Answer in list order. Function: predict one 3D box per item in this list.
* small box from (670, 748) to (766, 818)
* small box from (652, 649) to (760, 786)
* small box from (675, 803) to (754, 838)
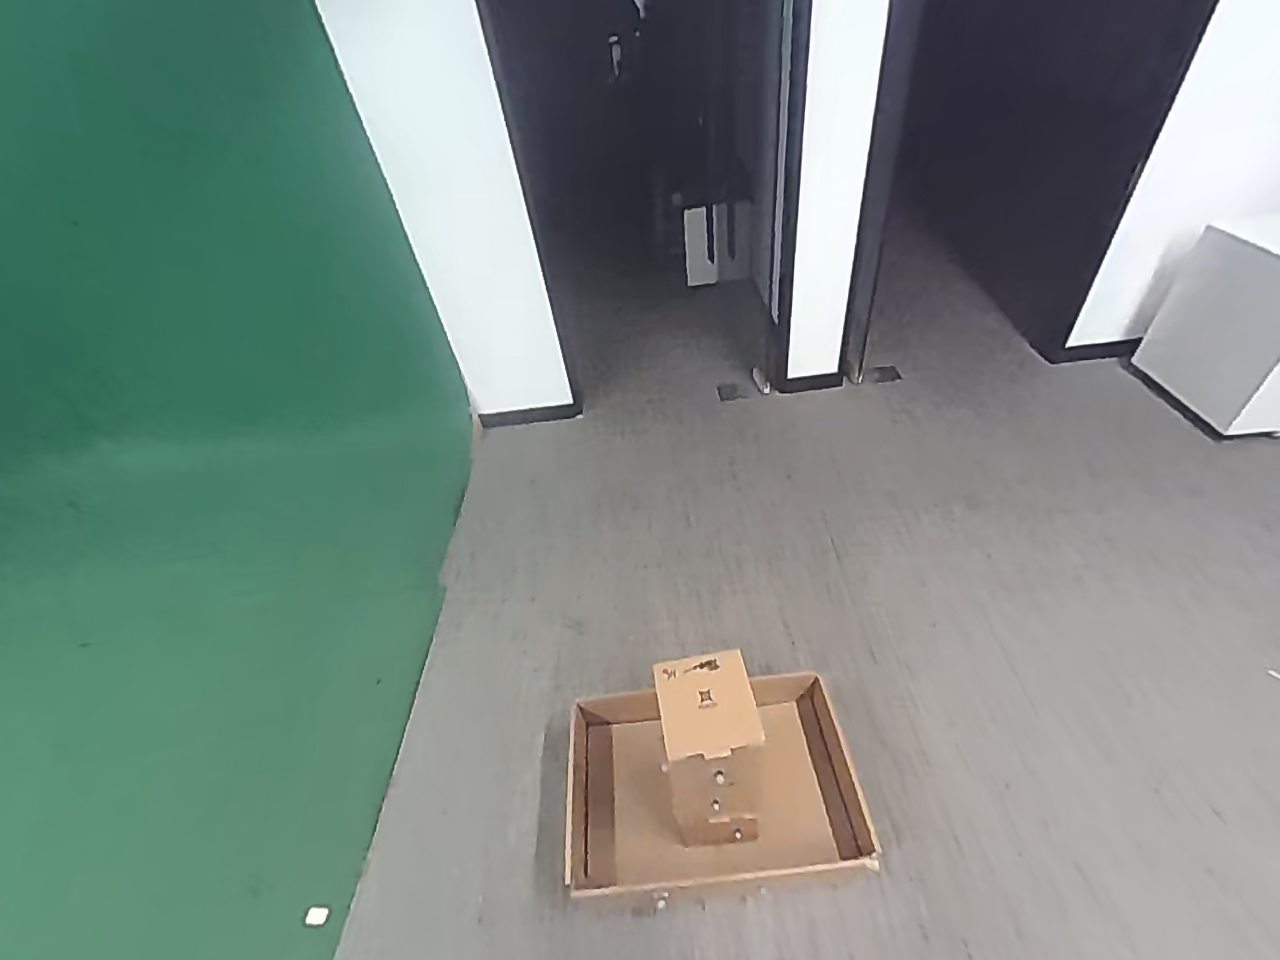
[{"bbox_3d":[0.145,0.564,1.104,0.179,0.176,0.168,-9,42,-2],"label":"small box"},{"bbox_3d":[0.121,0.443,0.997,0.168,0.176,0.179,-10,42,0],"label":"small box"},{"bbox_3d":[0.162,0.683,1.215,0.168,0.176,0.179,-6,40,3],"label":"small box"}]
